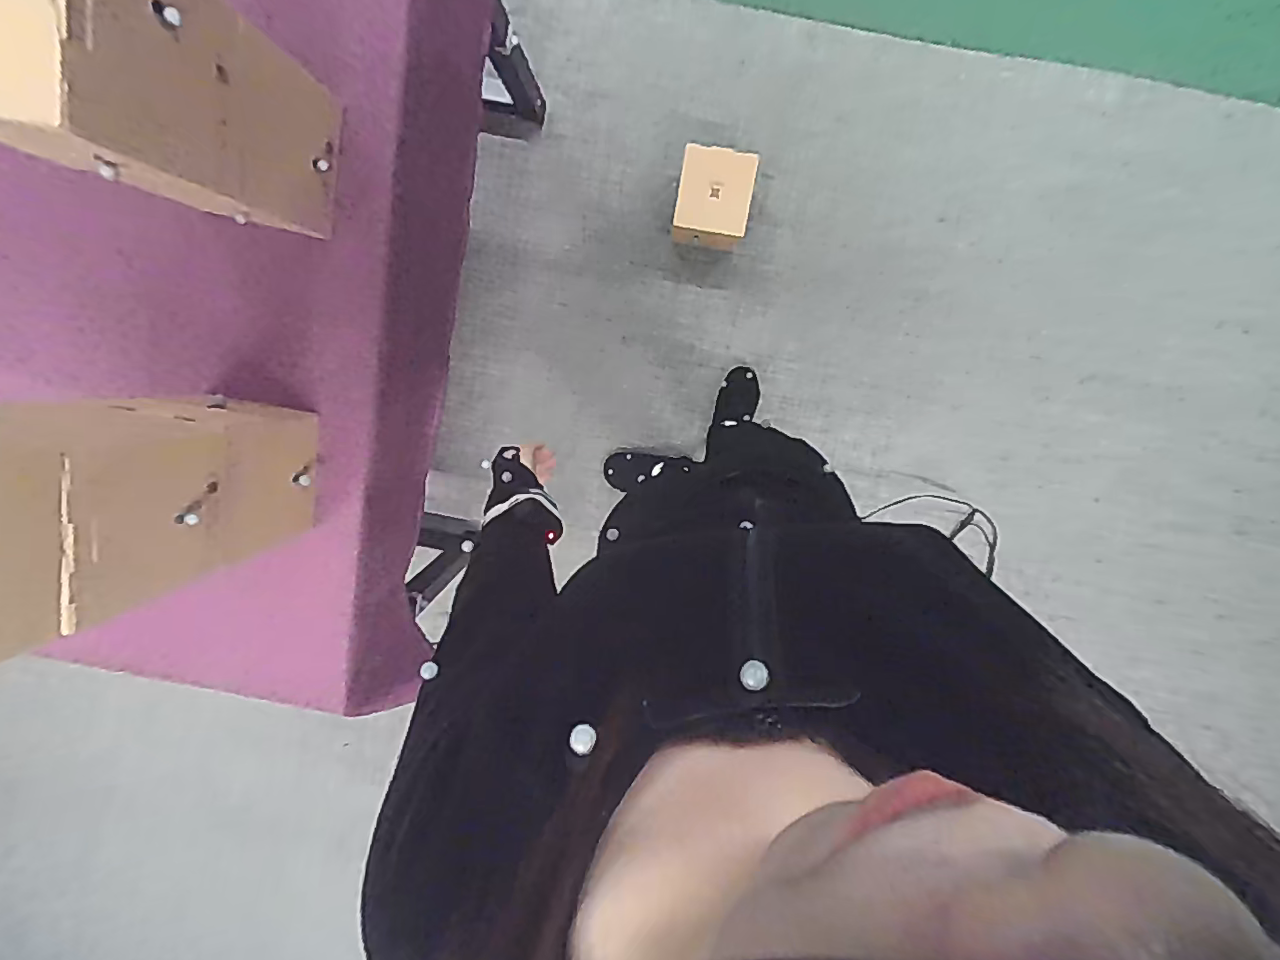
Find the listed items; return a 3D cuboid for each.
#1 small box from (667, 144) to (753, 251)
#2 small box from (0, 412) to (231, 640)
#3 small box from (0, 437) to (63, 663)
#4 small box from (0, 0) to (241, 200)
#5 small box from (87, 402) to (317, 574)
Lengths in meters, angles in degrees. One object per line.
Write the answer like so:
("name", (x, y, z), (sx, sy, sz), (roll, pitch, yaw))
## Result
("small box", (0.160, -0.660, 1.285), (0.168, 0.176, 0.179), (9, 101, 0))
("small box", (-0.557, 0.030, 0.534), (0.179, 0.176, 0.168), (11, 102, 0))
("small box", (-0.563, 0.057, 0.372), (0.168, 0.176, 0.179), (13, 101, 0))
("small box", (-0.479, -0.356, 0.455), (0.179, 0.176, 0.168), (11, 101, 0))
("small box", (-0.546, -0.001, 0.696), (0.168, 0.176, 0.179), (10, 101, 1))
